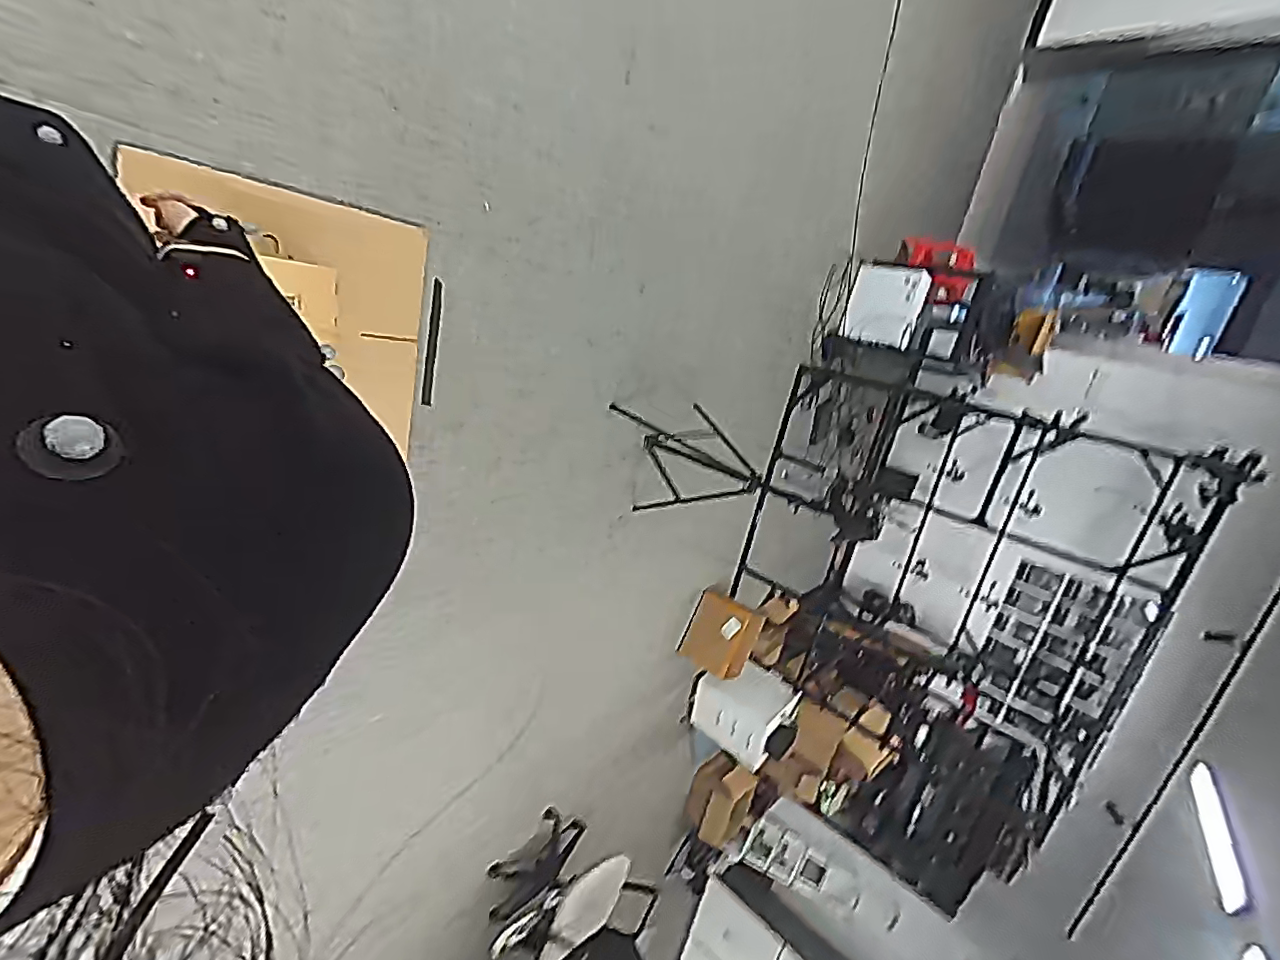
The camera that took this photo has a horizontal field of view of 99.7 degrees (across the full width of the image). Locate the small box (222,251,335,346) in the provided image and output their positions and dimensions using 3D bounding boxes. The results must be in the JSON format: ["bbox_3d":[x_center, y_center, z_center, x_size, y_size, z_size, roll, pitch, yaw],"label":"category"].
[{"bbox_3d":[-0.796,-0.398,1.186,0.179,0.176,0.168,-9,117,-49],"label":"small box"}]
